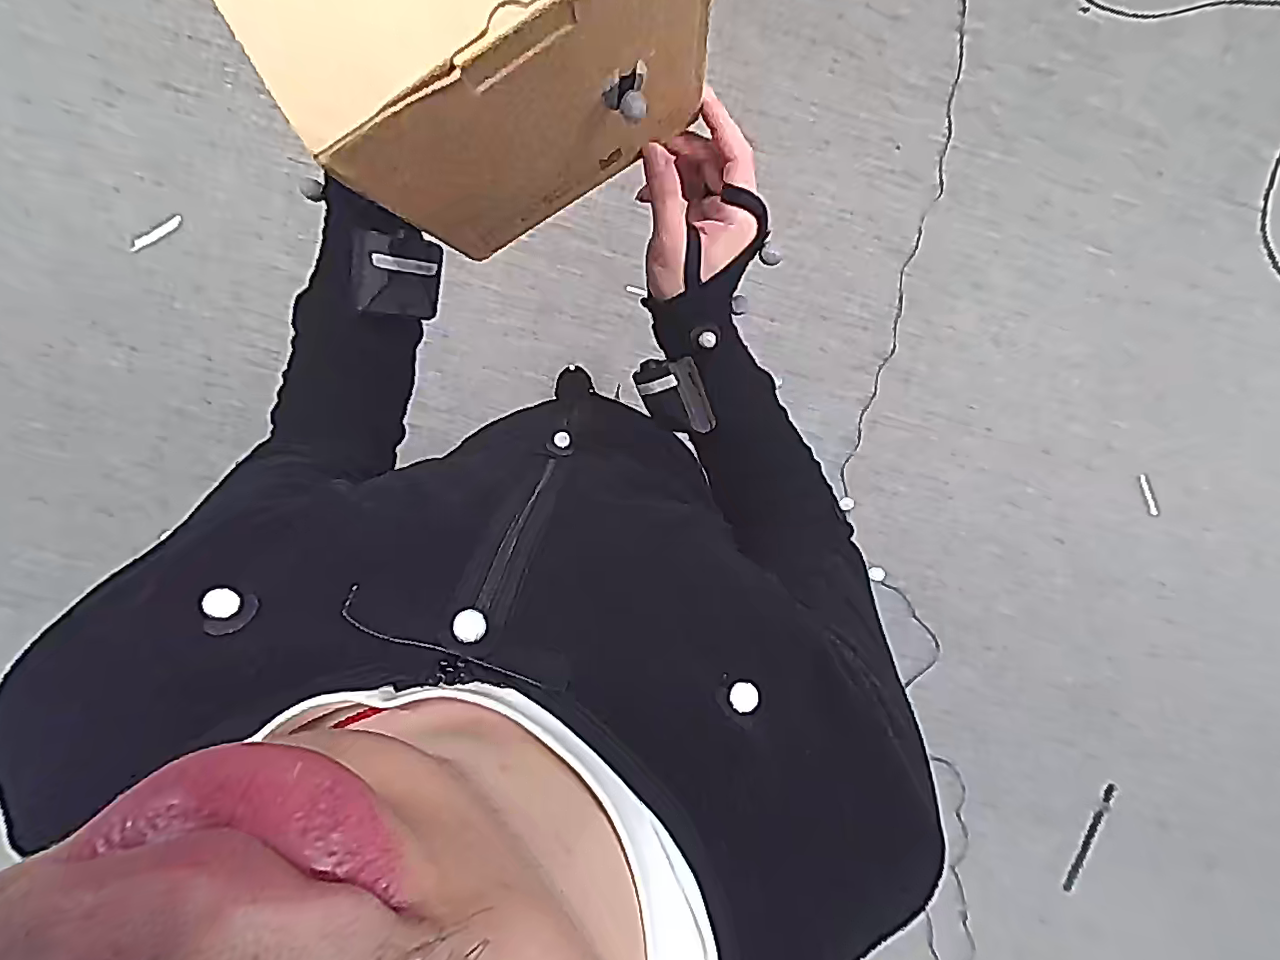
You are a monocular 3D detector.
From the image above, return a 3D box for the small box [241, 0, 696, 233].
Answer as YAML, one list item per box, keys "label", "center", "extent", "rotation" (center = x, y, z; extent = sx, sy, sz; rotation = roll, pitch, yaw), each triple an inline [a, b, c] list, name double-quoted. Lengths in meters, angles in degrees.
- label: "small box"
  center: [-0.080, -0.245, 0.257]
  extent: [0.168, 0.176, 0.179]
  rotation: [-29, 97, 7]
